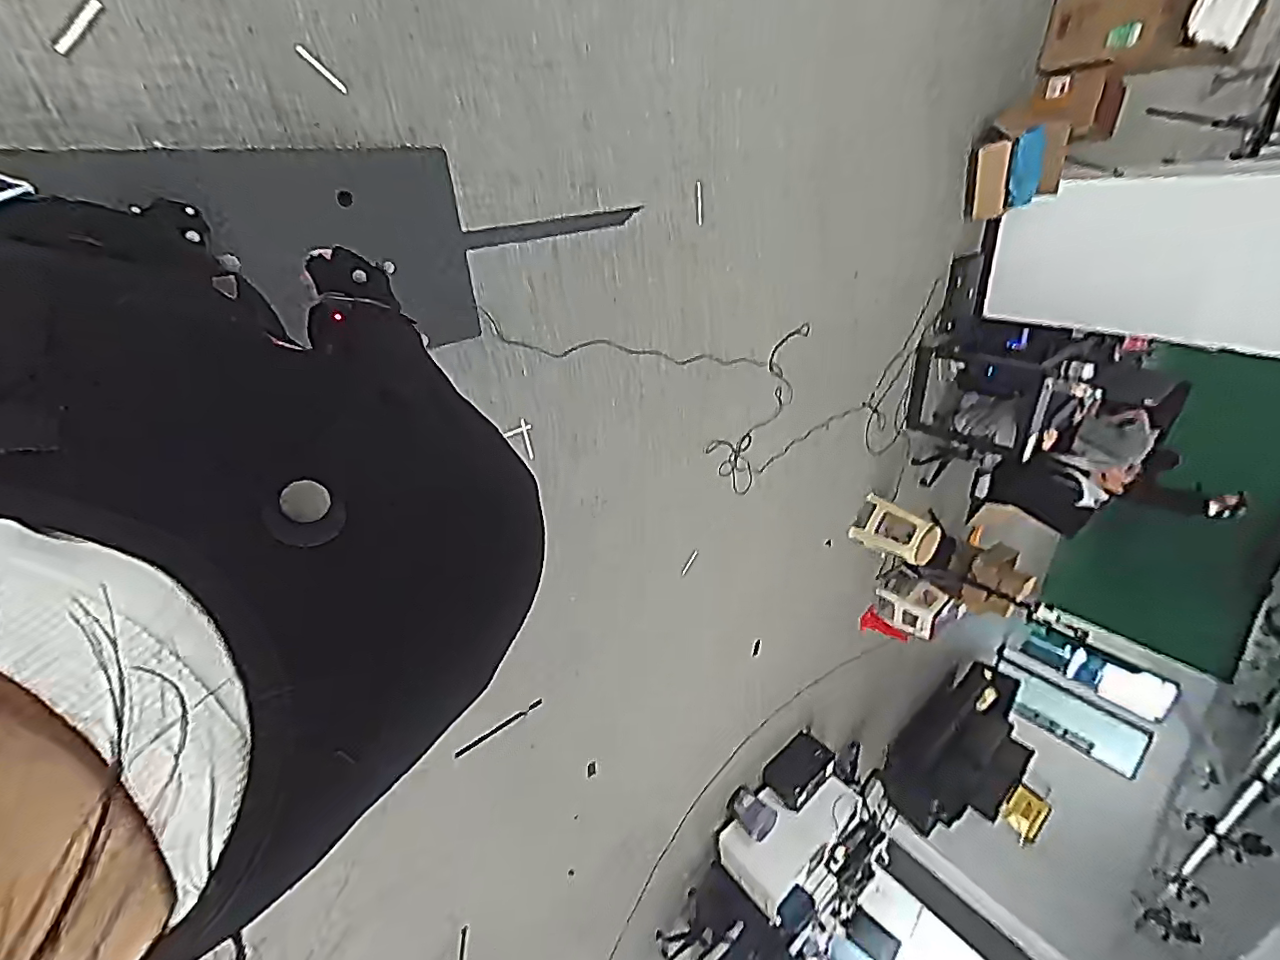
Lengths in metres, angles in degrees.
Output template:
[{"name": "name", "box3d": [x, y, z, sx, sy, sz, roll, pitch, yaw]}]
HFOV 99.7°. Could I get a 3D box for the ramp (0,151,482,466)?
[{"name": "ramp", "box3d": [-0.831, -0.446, 1.220, 0.991, 0.206, 0.509, -27, 124, -30]}]
